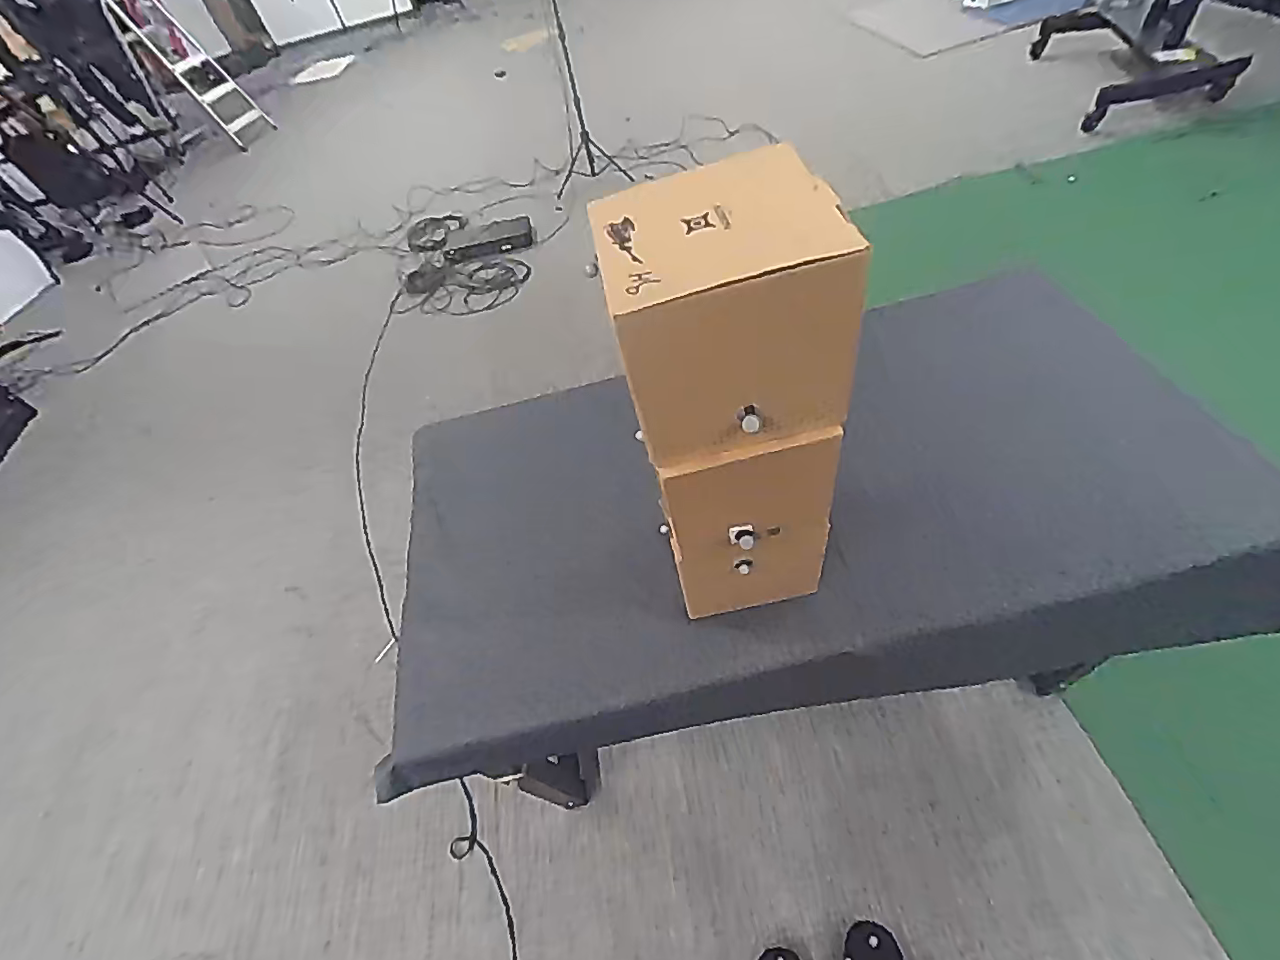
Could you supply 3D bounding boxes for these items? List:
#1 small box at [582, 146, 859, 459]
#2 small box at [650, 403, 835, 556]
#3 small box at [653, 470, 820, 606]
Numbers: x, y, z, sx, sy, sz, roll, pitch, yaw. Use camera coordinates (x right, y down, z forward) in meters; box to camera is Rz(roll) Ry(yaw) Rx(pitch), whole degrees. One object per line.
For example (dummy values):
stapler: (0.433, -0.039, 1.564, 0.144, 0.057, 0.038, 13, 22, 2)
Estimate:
small box: (0.060, -0.142, 0.461, 0.179, 0.176, 0.168, -13, 52, 4)
small box: (0.093, -0.044, 0.587, 0.168, 0.176, 0.179, -15, 53, 4)
small box: (0.122, 0.050, 0.715, 0.179, 0.176, 0.168, -12, 52, 3)
